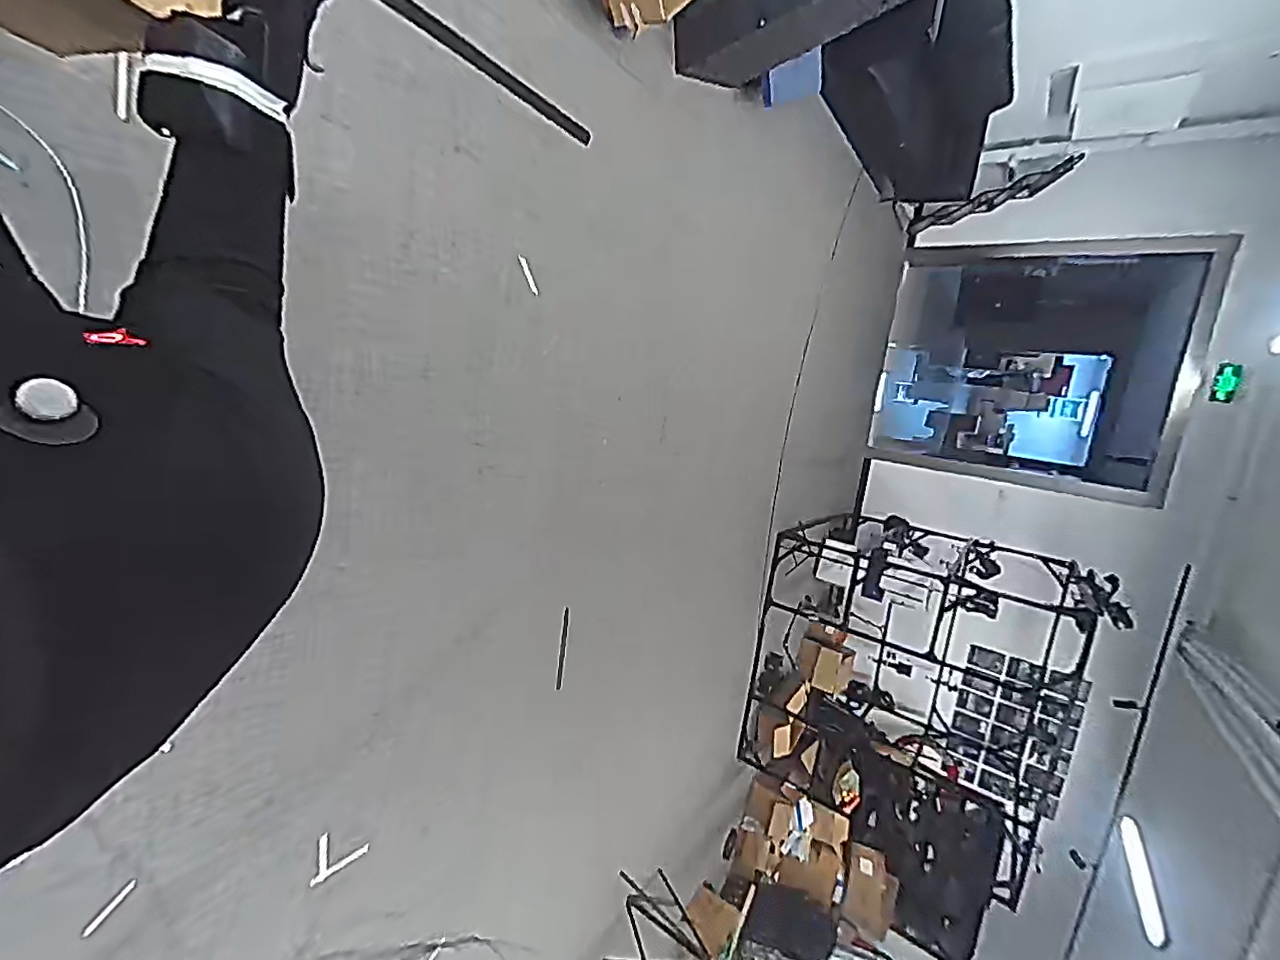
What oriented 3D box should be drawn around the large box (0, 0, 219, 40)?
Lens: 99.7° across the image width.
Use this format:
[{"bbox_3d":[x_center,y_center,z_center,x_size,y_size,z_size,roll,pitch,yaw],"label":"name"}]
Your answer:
[{"bbox_3d":[-0.472,-0.502,0.246,0.408,0.320,0.320,2,110,-62],"label":"large box"}]
